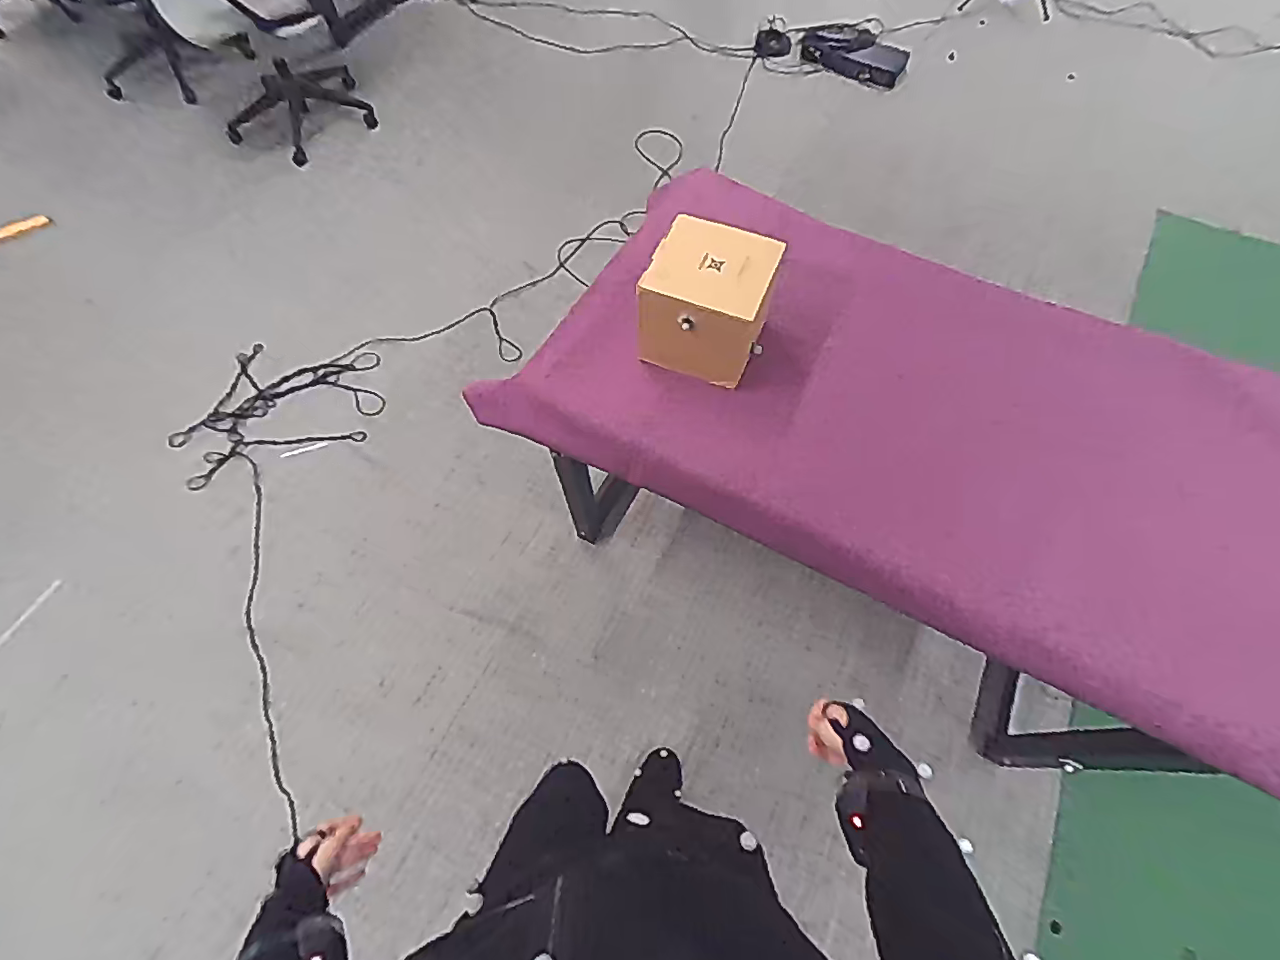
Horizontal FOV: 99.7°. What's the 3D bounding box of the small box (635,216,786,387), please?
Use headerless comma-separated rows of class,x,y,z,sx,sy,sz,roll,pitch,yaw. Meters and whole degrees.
small box,0.105,-0.273,0.850,0.179,0.176,0.168,22,66,11
